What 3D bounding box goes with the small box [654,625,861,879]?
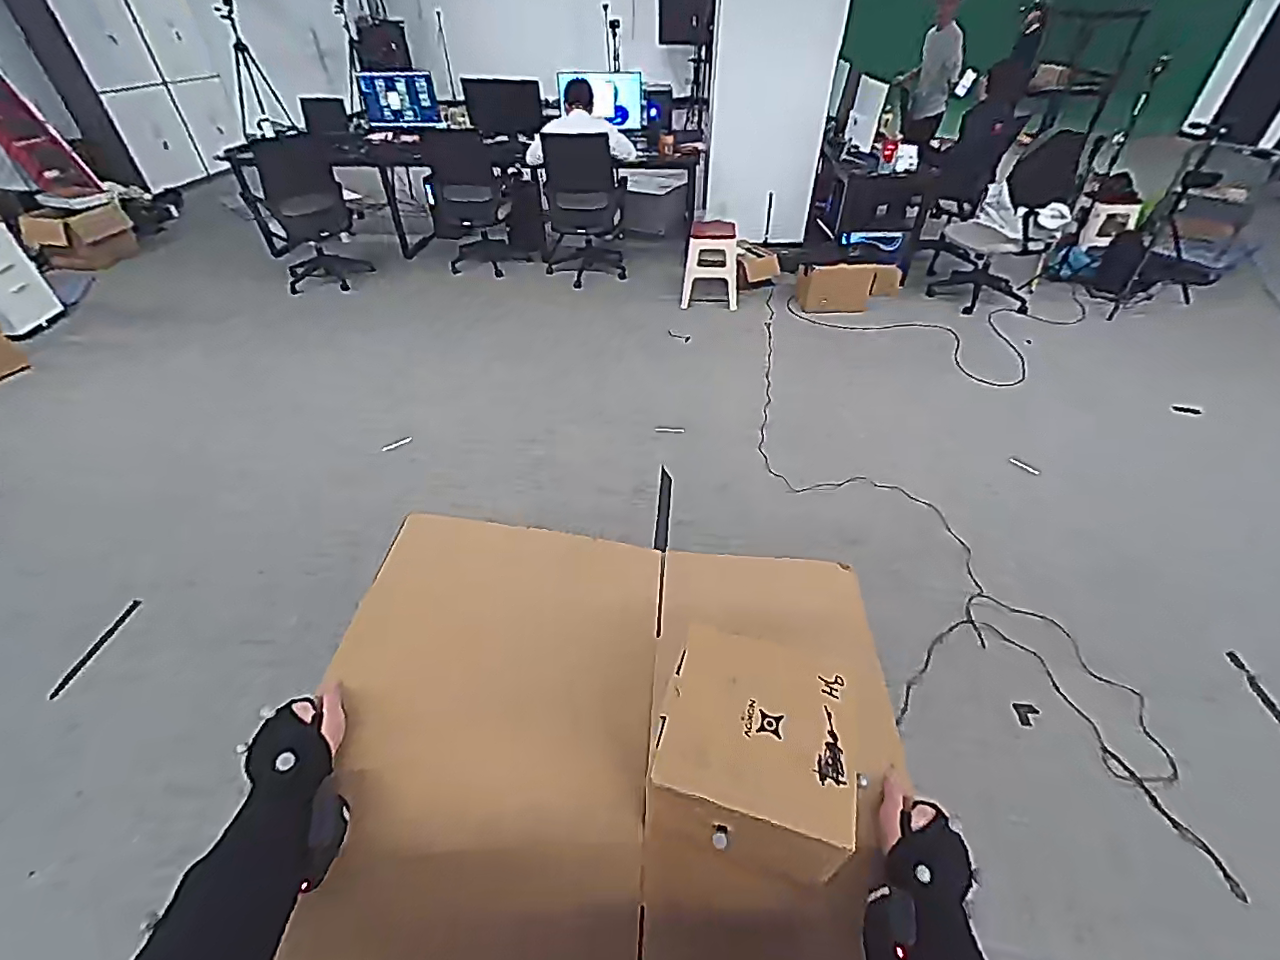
[{"bbox_3d":[0.121,0.285,0.569,0.179,0.176,0.168,11,44,14],"label":"small box"}]
